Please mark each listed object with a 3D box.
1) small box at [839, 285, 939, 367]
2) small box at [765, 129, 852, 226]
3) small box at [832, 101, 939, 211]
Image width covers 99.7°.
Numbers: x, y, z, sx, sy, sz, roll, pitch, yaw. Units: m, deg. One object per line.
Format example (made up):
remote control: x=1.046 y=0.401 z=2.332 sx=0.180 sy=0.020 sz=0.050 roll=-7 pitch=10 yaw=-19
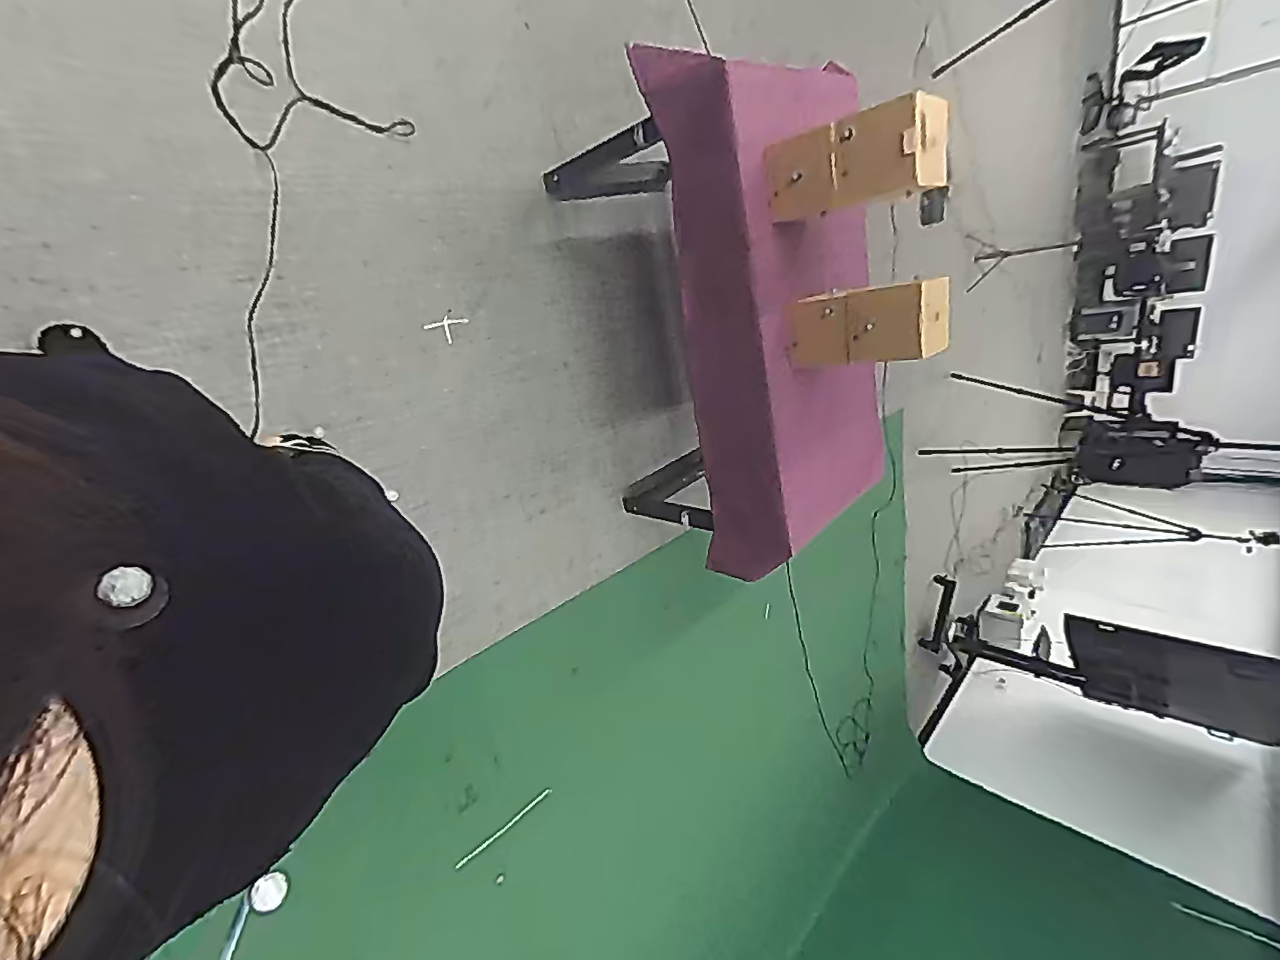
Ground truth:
small box: x=0.594 y=-0.368 z=1.294 sx=0.179 sy=0.176 sz=0.168 roll=-24 pitch=113 yaw=-40
small box: x=0.409 y=-0.711 z=1.285 sx=0.179 sy=0.176 sz=0.168 roll=-26 pitch=116 yaw=-38
small box: x=0.530 y=-0.690 z=1.174 sx=0.179 sy=0.176 sz=0.168 roll=-26 pitch=115 yaw=-40
